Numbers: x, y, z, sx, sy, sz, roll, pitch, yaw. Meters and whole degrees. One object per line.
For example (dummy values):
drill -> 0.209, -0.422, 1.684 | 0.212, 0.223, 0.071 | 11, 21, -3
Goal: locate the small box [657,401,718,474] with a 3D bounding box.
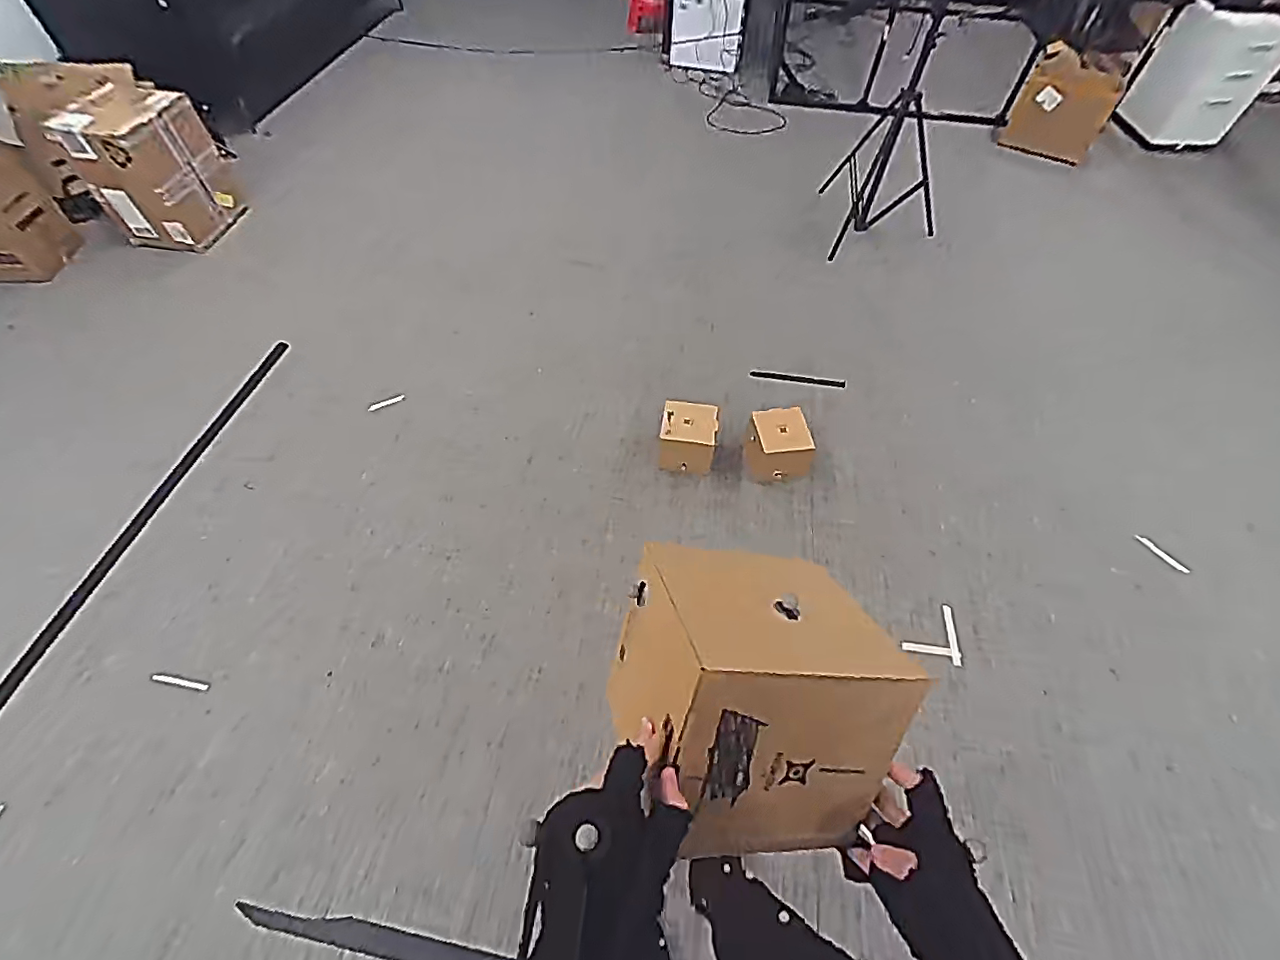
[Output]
small box -> 0.157, -0.137, 1.797 | 0.179, 0.176, 0.168 | 8, 56, 4

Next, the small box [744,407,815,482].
small box -> 0.453, -0.117, 1.789 | 0.168, 0.176, 0.179 | -7, 57, -5

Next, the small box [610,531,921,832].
small box -> 0.081, 0.155, 0.451 | 0.179, 0.168, 0.176 | 8, 19, -16
